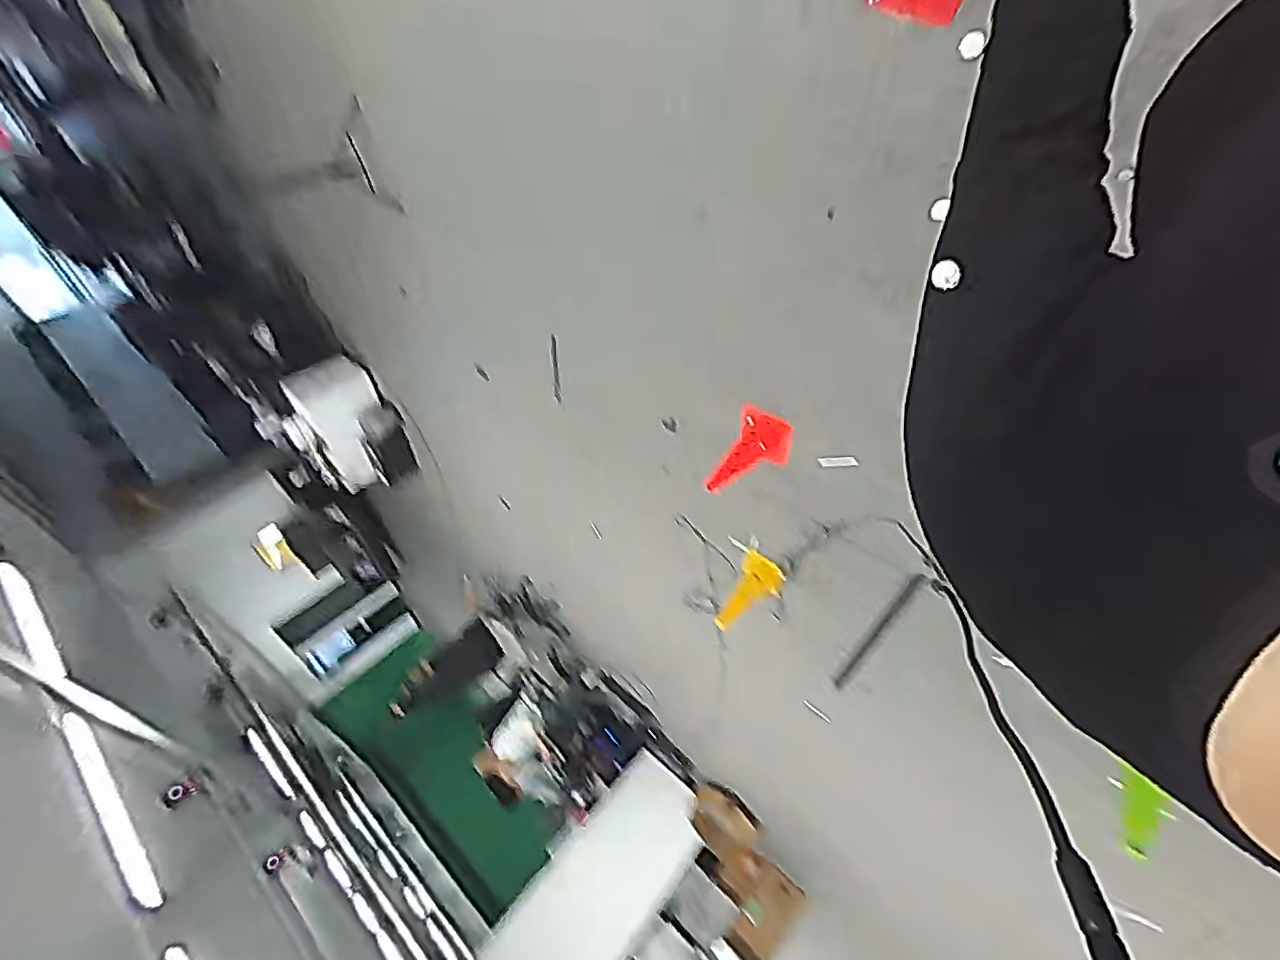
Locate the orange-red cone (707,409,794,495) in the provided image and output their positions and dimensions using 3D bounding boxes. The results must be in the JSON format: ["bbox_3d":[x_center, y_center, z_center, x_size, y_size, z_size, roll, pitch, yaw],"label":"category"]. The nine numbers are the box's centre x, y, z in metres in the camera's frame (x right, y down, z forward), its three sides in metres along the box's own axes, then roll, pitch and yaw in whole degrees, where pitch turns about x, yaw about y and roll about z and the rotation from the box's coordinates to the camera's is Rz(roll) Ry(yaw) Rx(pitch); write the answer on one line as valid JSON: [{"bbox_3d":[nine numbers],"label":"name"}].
[{"bbox_3d":[0.360,-0.059,1.915,0.198,0.360,0.199,32,145,29],"label":"orange-red cone"}]

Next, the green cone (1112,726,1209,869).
[{"bbox_3d":[1.475,0.936,1.554,0.202,0.368,0.200,-5,120,51],"label":"green cone"}]

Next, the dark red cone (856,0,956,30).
[{"bbox_3d":[0.425,-0.905,0.930,0.201,0.394,0.202,35,145,21],"label":"dark red cone"}]
